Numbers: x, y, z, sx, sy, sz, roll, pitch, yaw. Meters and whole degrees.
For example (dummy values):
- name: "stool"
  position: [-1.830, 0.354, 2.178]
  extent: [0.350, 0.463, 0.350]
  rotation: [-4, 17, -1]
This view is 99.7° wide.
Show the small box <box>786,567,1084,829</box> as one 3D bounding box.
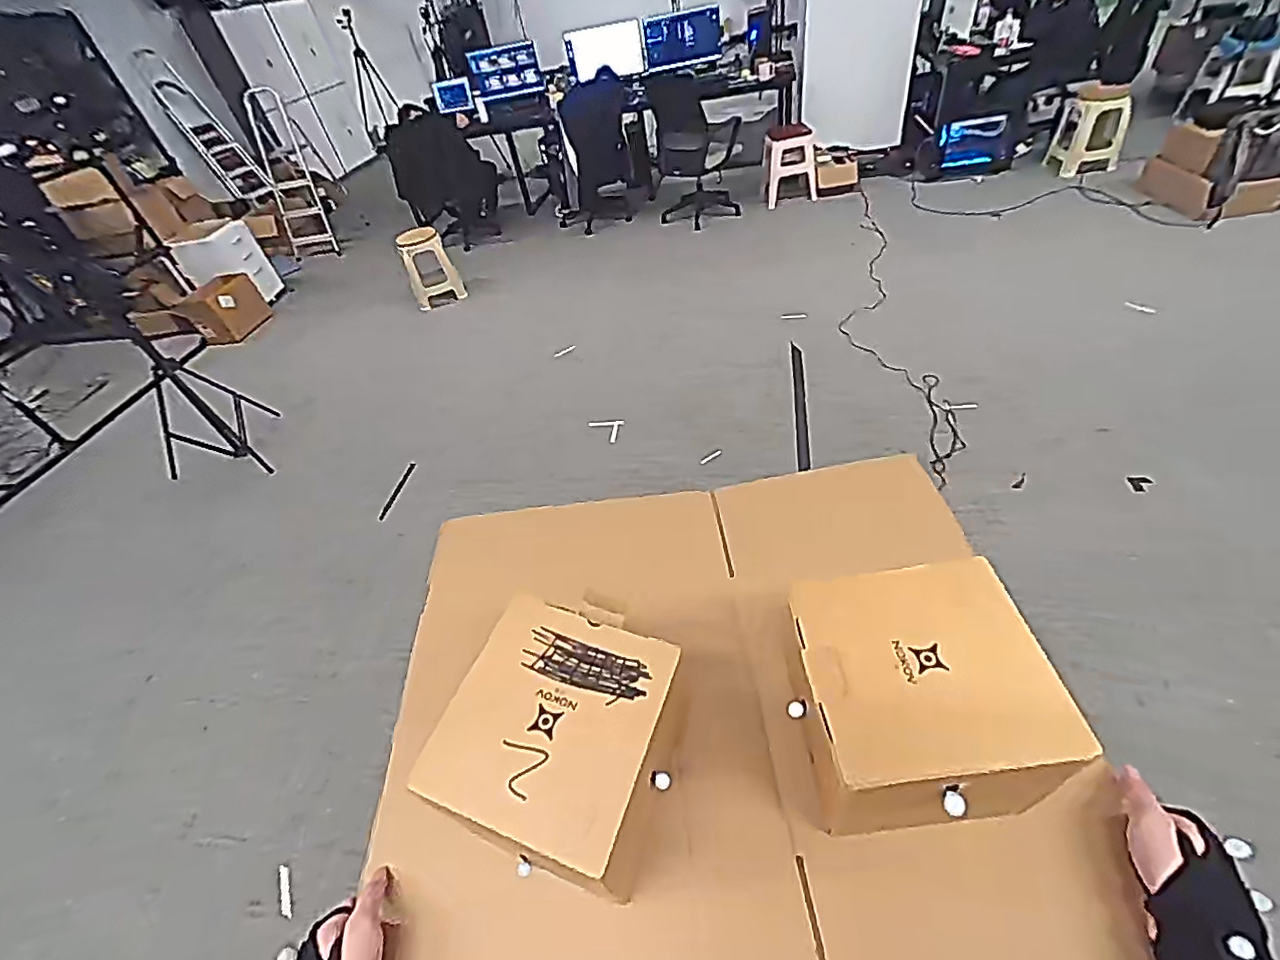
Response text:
- name: "small box"
  position: [0.239, 0.205, 0.499]
  extent: [0.179, 0.176, 0.168]
  rotation: [-11, 46, 6]
